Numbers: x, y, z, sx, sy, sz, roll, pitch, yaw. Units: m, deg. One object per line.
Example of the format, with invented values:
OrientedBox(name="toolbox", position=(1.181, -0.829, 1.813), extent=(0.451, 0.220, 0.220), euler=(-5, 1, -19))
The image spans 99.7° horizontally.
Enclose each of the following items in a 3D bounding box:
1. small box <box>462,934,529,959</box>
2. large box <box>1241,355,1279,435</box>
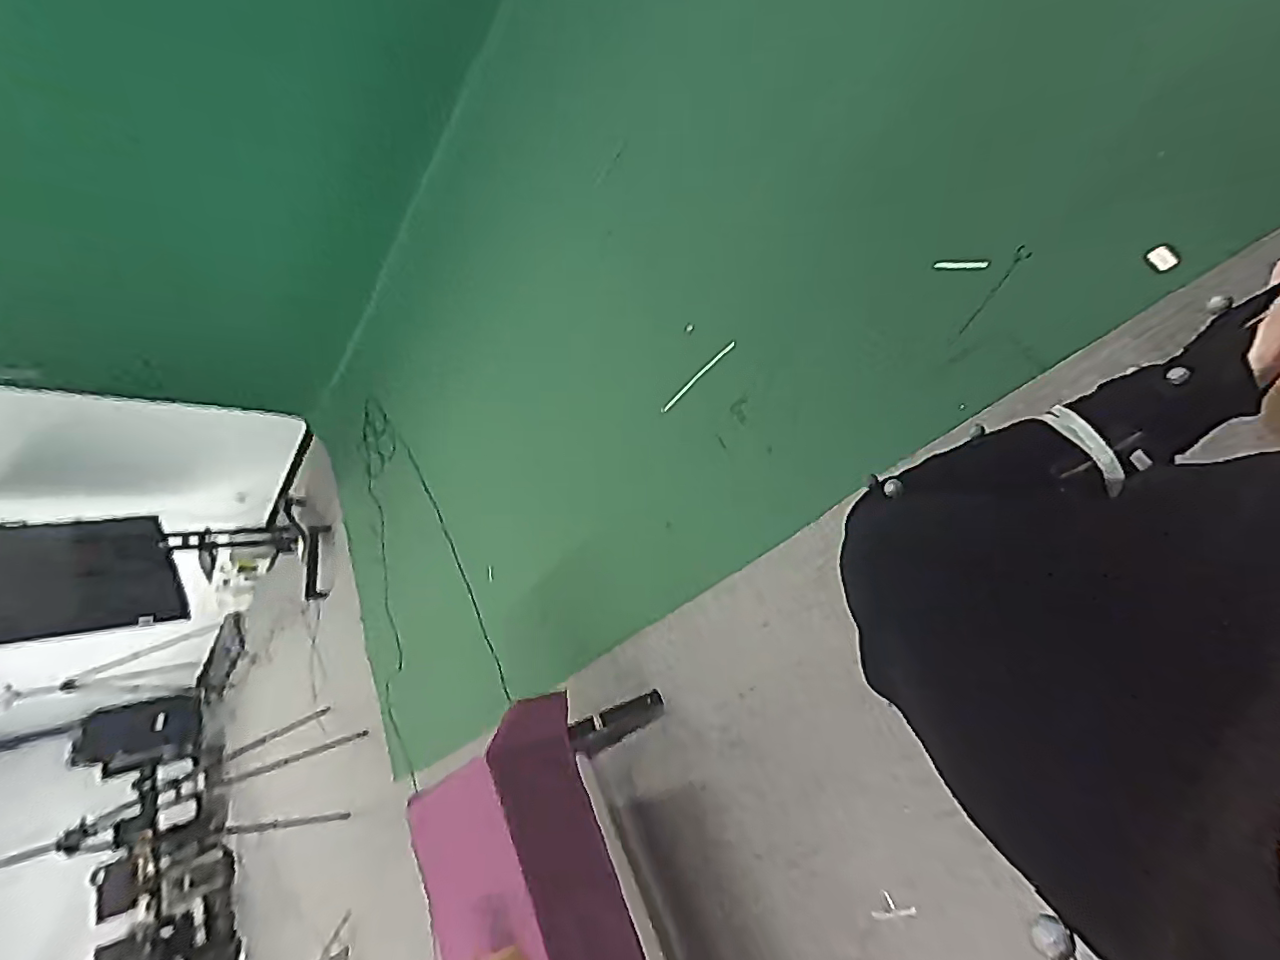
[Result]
OrientedBox(name="small box", position=(-0.371, 1.267, 1.336), extent=(0.168, 0.176, 0.179), euler=(-45, 61, 34))
OrientedBox(name="large box", position=(1.237, -0.155, 0.769), extent=(0.408, 0.320, 0.320), euler=(-42, 61, 33))
